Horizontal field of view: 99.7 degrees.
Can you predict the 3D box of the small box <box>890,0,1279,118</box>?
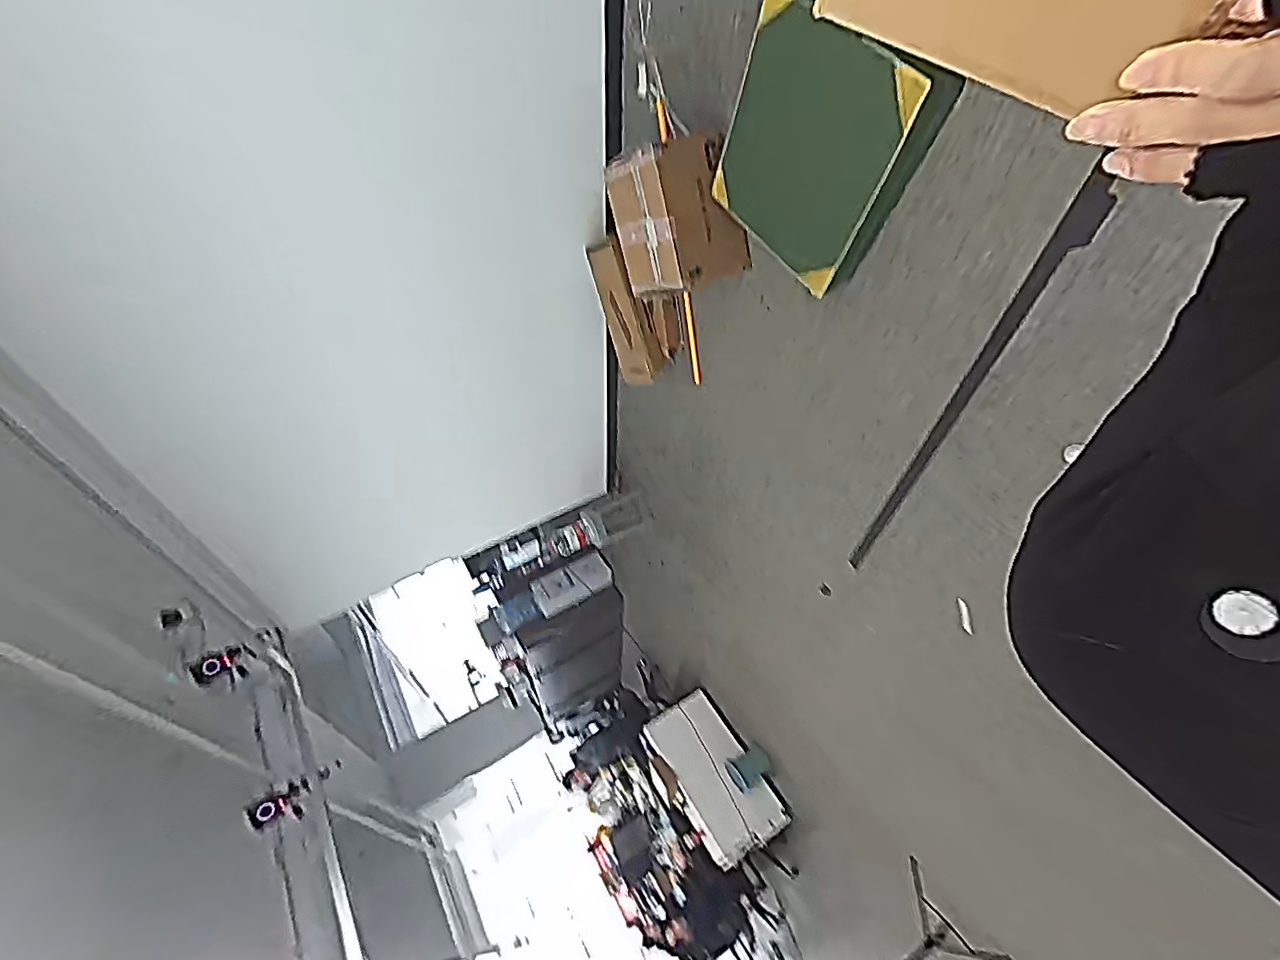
[{"bbox_3d":[0.201,-0.271,0.177,0.176,0.179,0.168,31,170,9],"label":"small box"}]
